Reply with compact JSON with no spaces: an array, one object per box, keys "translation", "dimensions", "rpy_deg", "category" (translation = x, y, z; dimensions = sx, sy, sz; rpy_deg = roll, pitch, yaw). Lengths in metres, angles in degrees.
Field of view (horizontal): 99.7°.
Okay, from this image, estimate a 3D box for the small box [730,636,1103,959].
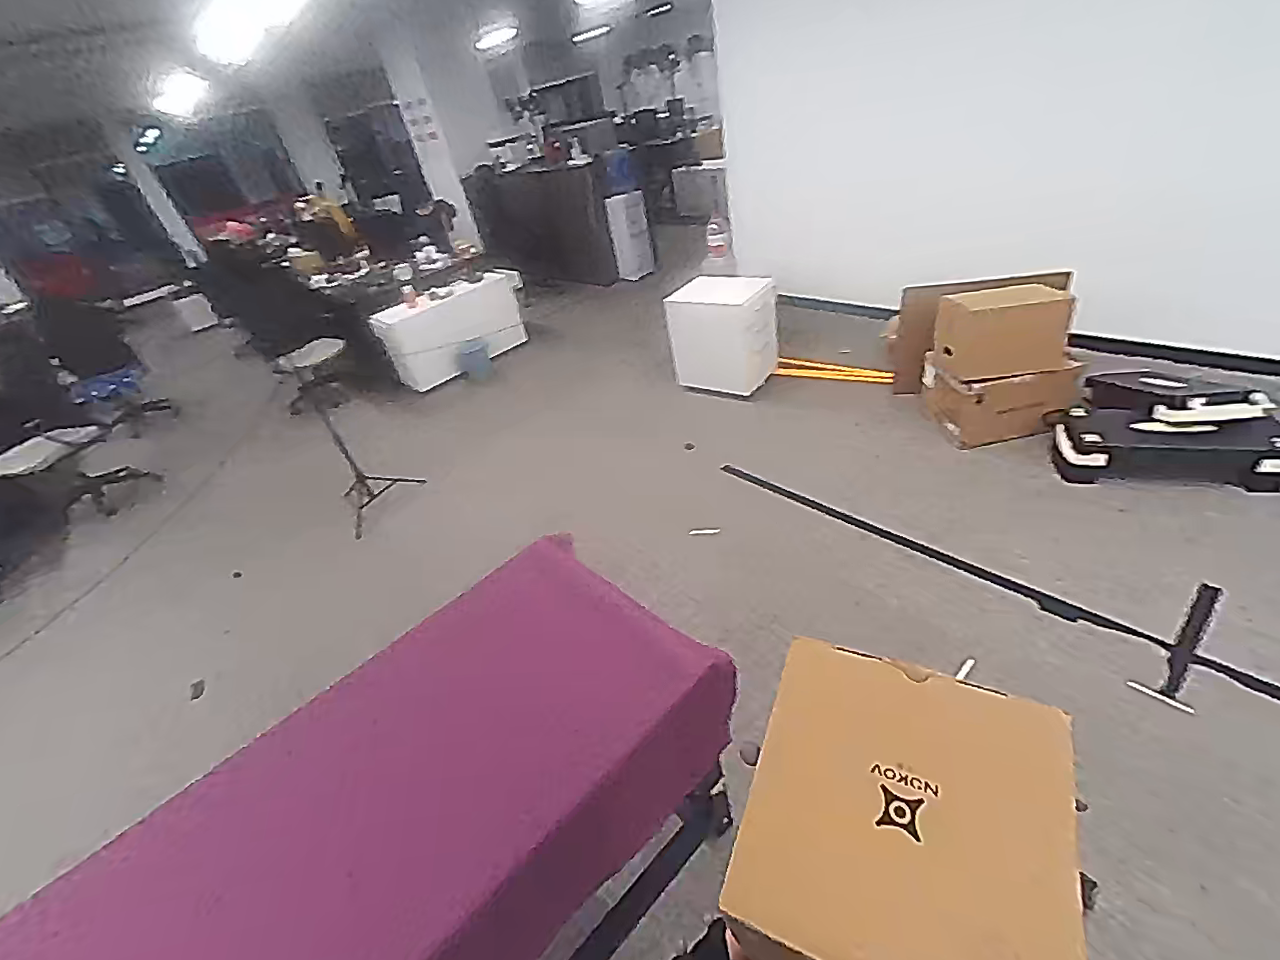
[{"translation":[0.172,0.240,0.356],"dimensions":[0.168,0.176,0.179],"rpy_deg":[10,47,26],"category":"small box"}]
